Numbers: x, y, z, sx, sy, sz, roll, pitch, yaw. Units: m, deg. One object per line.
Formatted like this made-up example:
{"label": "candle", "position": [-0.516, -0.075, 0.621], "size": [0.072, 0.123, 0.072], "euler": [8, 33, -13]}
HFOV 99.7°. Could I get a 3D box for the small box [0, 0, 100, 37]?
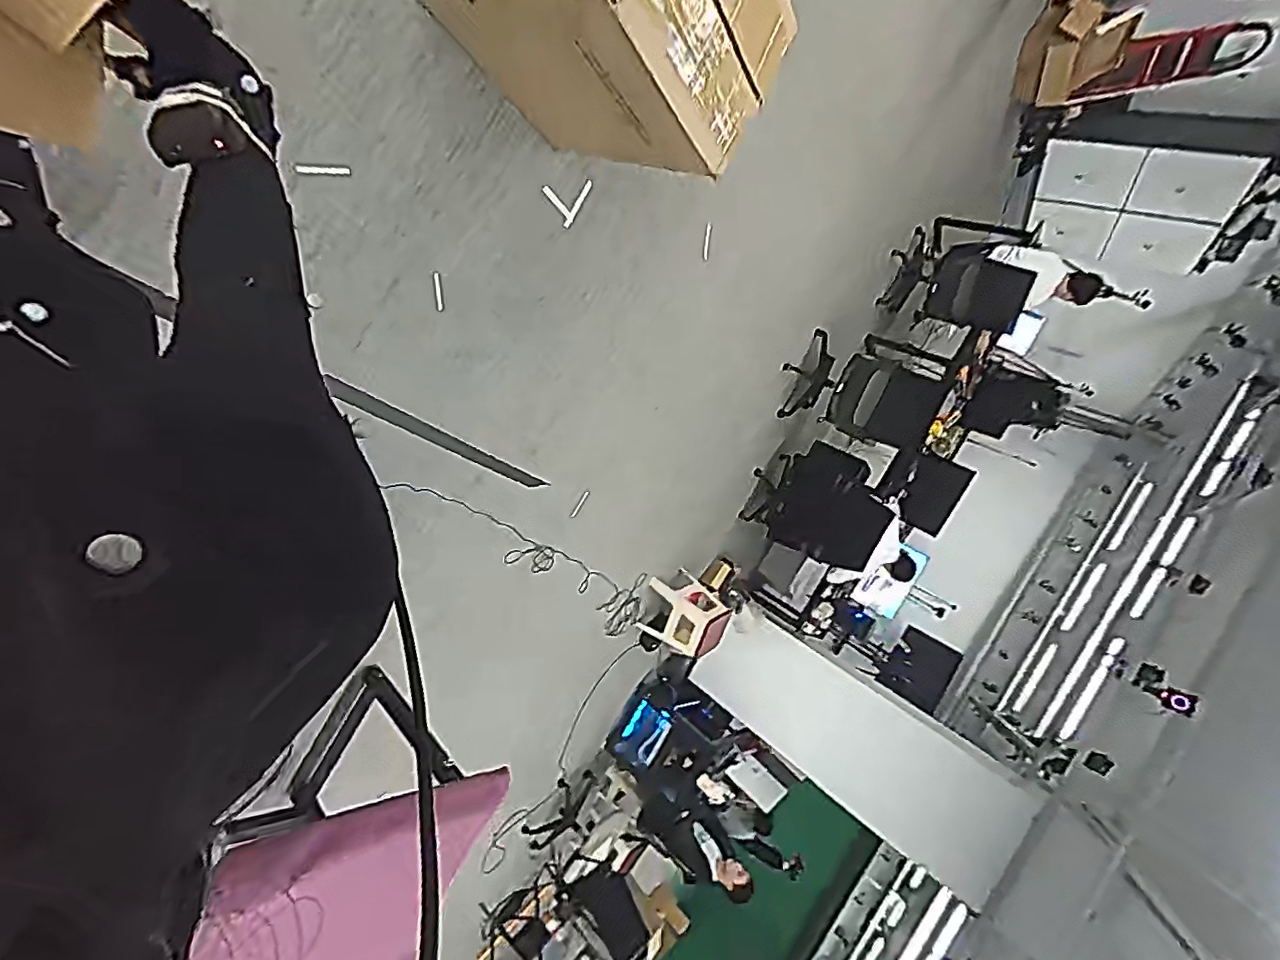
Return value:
{"label": "small box", "position": [-0.418, -0.415, 0.323], "size": [0.168, 0.176, 0.179], "euler": [-53, 151, -6]}
